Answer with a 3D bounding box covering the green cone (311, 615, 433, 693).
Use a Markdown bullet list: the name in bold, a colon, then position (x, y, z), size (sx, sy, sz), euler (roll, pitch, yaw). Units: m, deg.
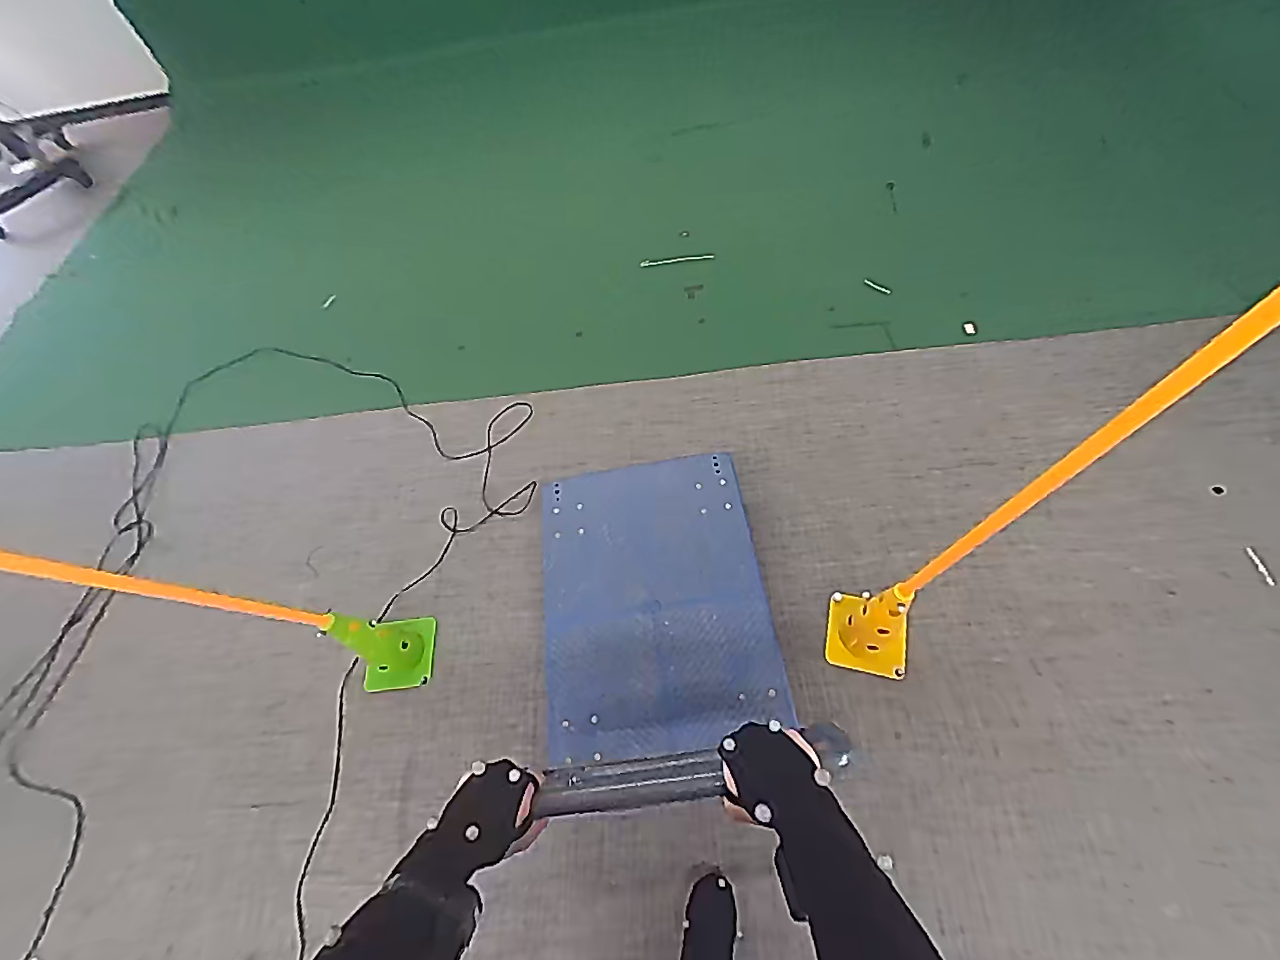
- **green cone**: position (-0.741, 0.429, 1.453), size (0.202, 0.368, 0.200), euler (-10, 58, 5)
